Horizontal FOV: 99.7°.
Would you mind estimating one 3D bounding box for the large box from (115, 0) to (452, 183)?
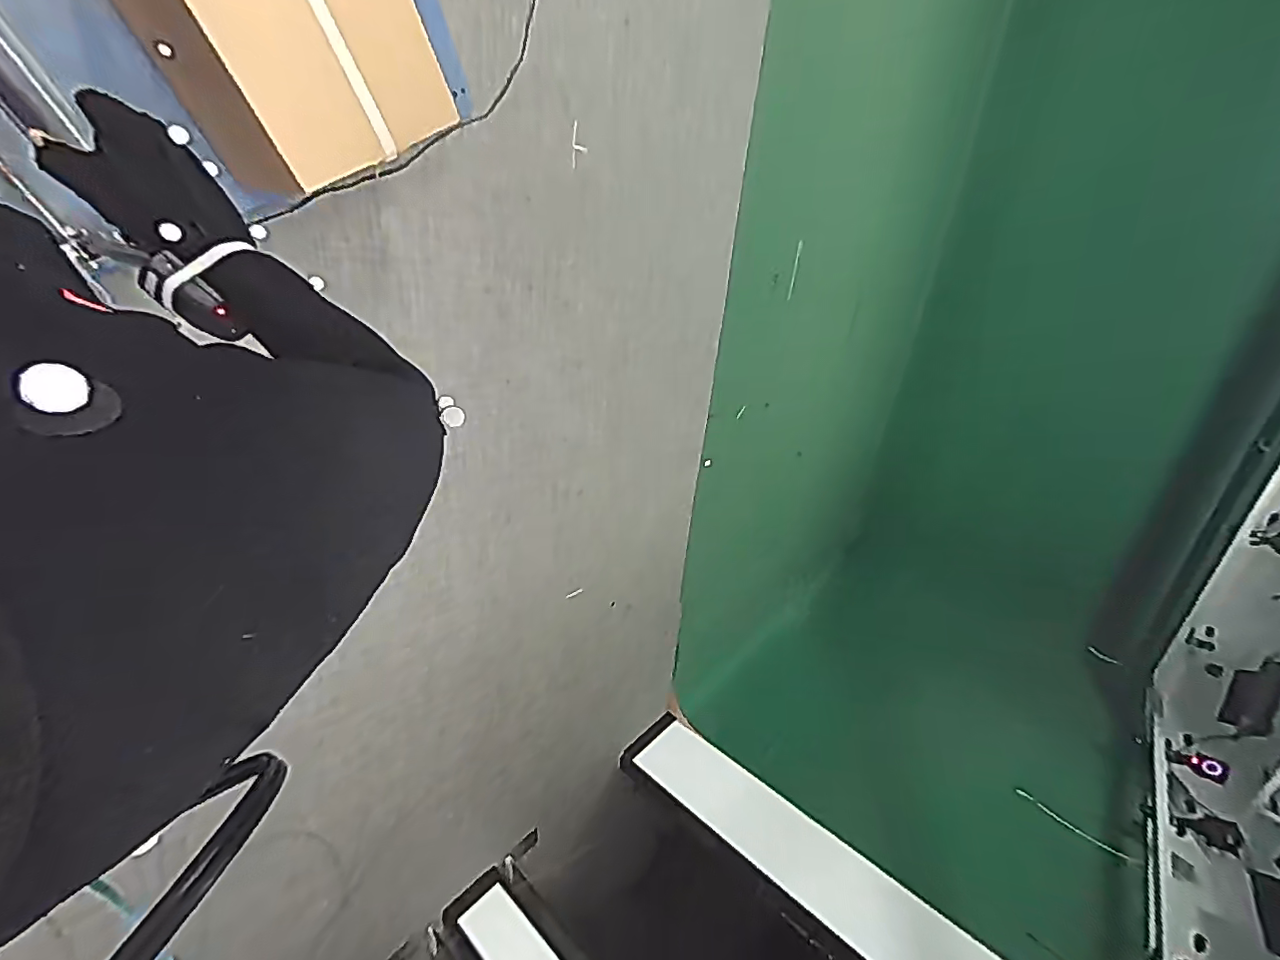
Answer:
[{"bbox_3d":[-0.581,-0.736,0.840,0.320,0.320,0.408,-46,139,-26],"label":"large box"}]
